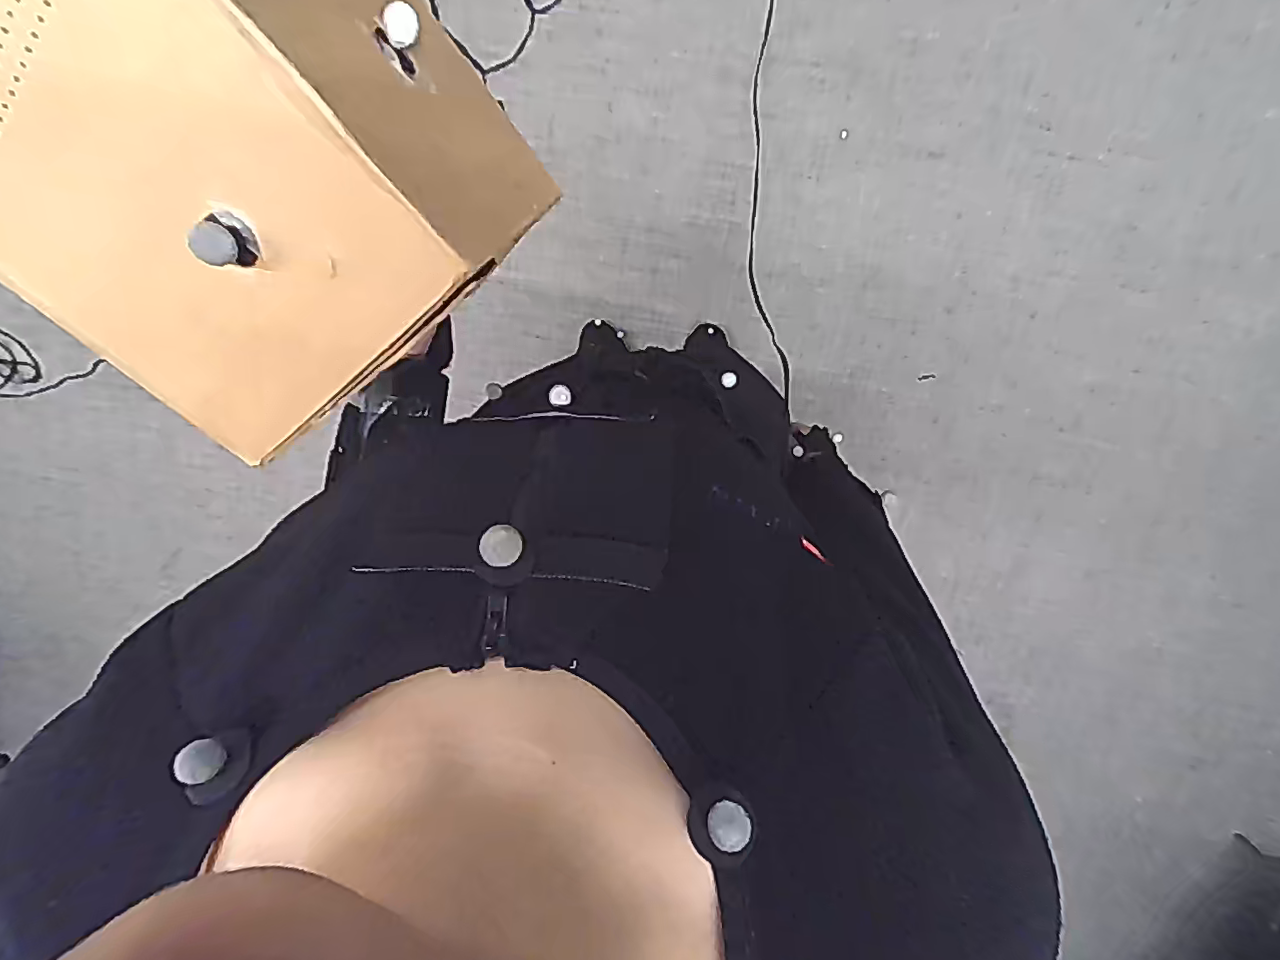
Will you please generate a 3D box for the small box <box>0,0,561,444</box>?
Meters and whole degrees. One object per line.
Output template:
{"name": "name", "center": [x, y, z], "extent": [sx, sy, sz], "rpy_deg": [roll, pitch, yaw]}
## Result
{"name": "small box", "center": [-0.172, -0.158, 0.277], "extent": [0.179, 0.168, 0.176], "rpy_deg": [-29, 120, 26]}
